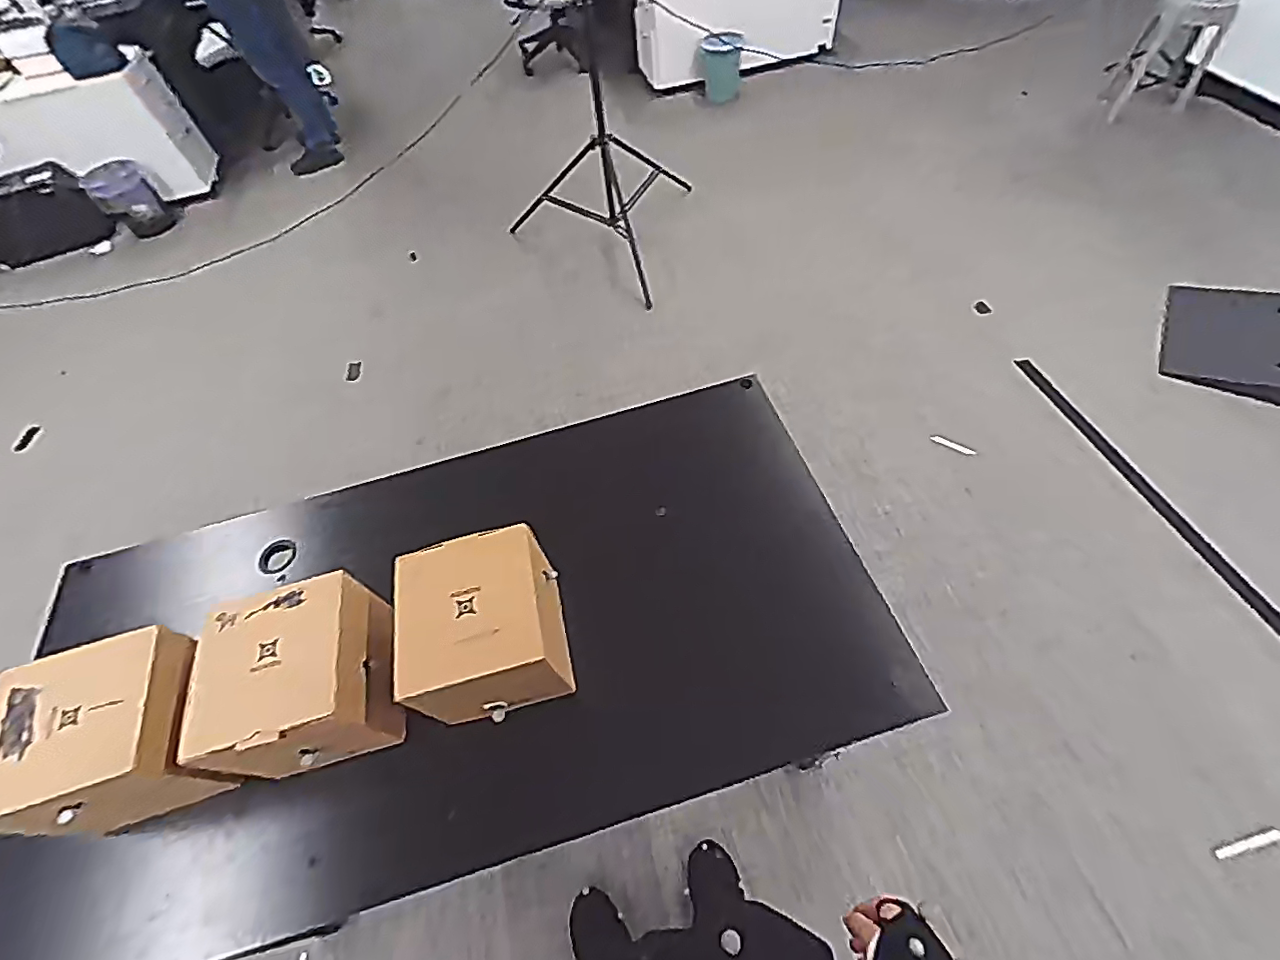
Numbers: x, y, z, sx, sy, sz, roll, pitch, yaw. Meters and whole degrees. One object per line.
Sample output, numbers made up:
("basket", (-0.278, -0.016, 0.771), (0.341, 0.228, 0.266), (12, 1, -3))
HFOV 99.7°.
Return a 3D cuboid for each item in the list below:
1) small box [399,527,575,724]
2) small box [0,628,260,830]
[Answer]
("small box", (-0.191, 0.191, 0.696), (0.168, 0.176, 0.179), (-16, 57, -3))
("small box", (-0.614, 0.309, 0.661), (0.179, 0.176, 0.168), (-17, 57, -7))
